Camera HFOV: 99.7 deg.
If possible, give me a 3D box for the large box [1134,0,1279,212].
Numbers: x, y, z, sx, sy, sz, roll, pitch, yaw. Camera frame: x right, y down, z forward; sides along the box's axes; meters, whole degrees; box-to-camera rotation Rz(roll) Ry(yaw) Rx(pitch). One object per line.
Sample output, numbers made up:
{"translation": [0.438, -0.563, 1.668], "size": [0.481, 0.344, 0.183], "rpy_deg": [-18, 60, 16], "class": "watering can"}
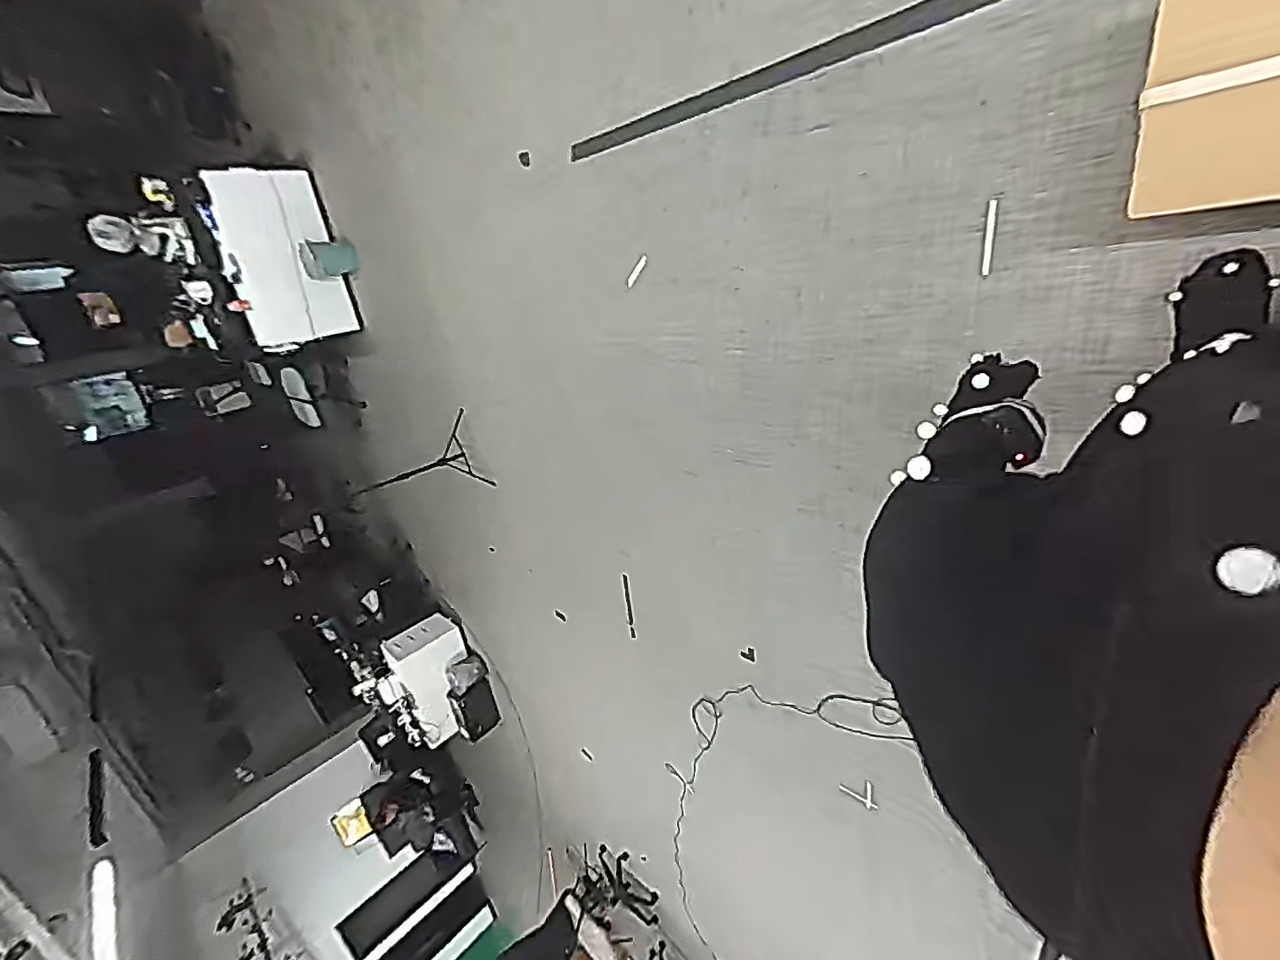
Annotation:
{"translation": [0.946, -0.565, 0.709], "size": [0.408, 0.320, 0.320], "rpy_deg": [11, 120, 43], "class": "large box"}
